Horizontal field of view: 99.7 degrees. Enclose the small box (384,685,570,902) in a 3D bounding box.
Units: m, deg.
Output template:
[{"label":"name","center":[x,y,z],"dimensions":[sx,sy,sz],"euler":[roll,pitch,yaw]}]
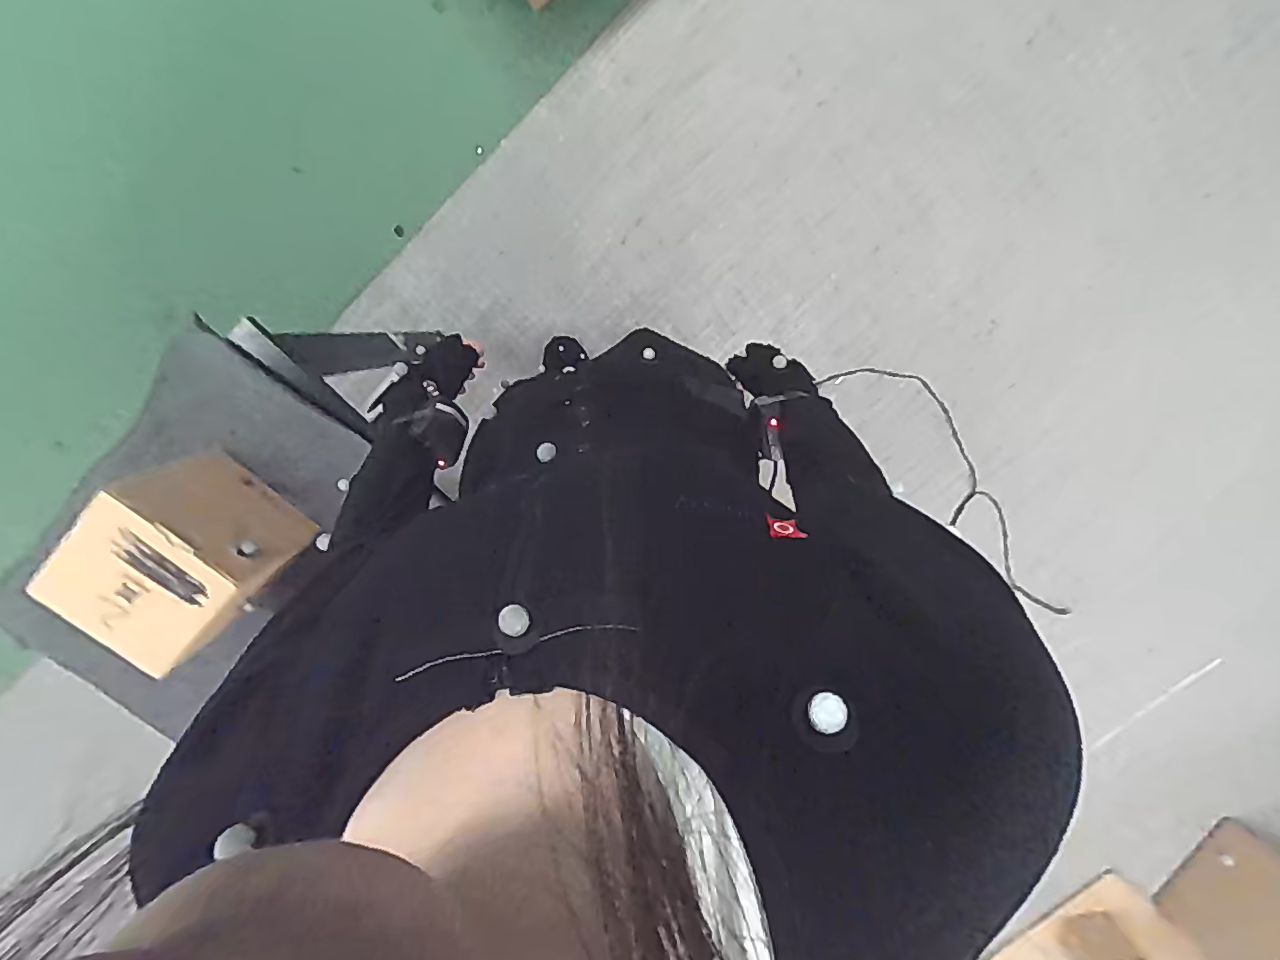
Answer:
[{"label":"small box","center":[-0.215,0.433,0.772],"dimensions":[0.179,0.176,0.168],"euler":[-41,102,10]}]
